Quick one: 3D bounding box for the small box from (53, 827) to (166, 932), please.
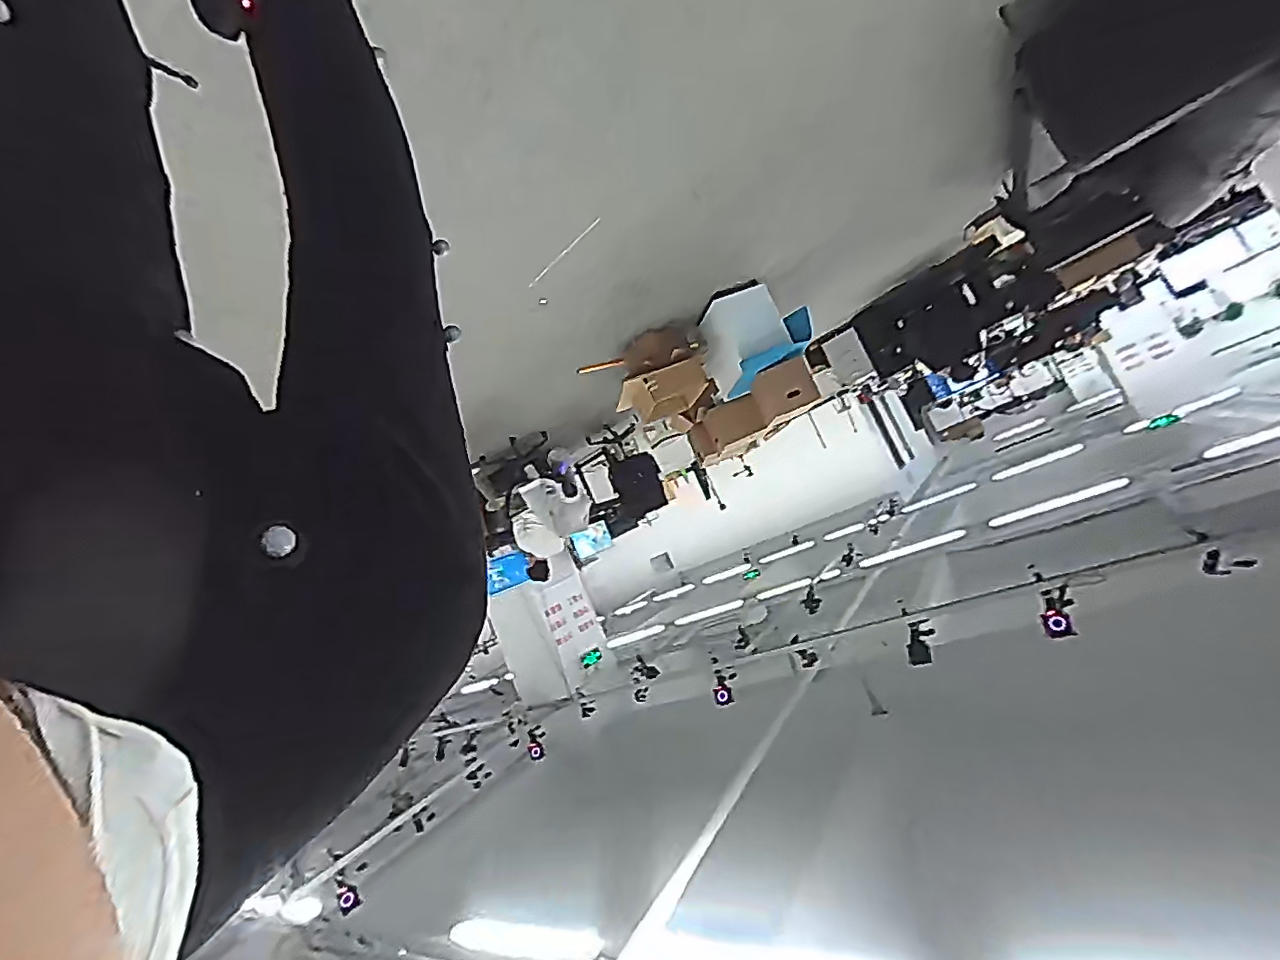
[{"bbox_3d":[-1.476,1.101,1.505,0.168,0.176,0.179,-27,172,32],"label":"small box"}]
